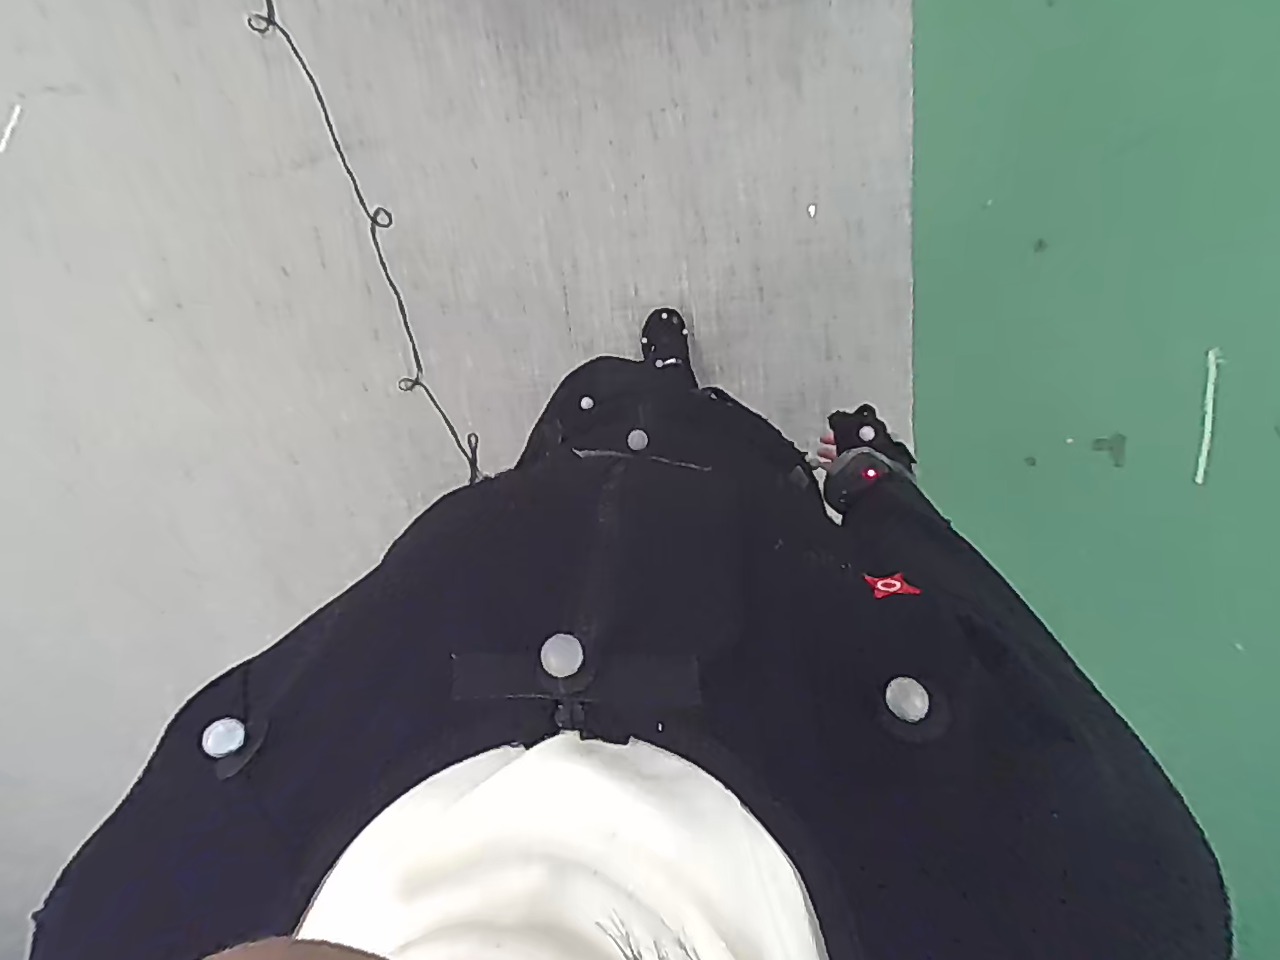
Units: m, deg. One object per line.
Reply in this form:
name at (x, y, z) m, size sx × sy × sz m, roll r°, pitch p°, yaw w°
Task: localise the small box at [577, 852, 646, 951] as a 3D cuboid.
small box at (-0.080, 1.248, 1.612) m, size 0.179 × 0.176 × 0.168 m, roll -2°, pitch 102°, yaw 6°
